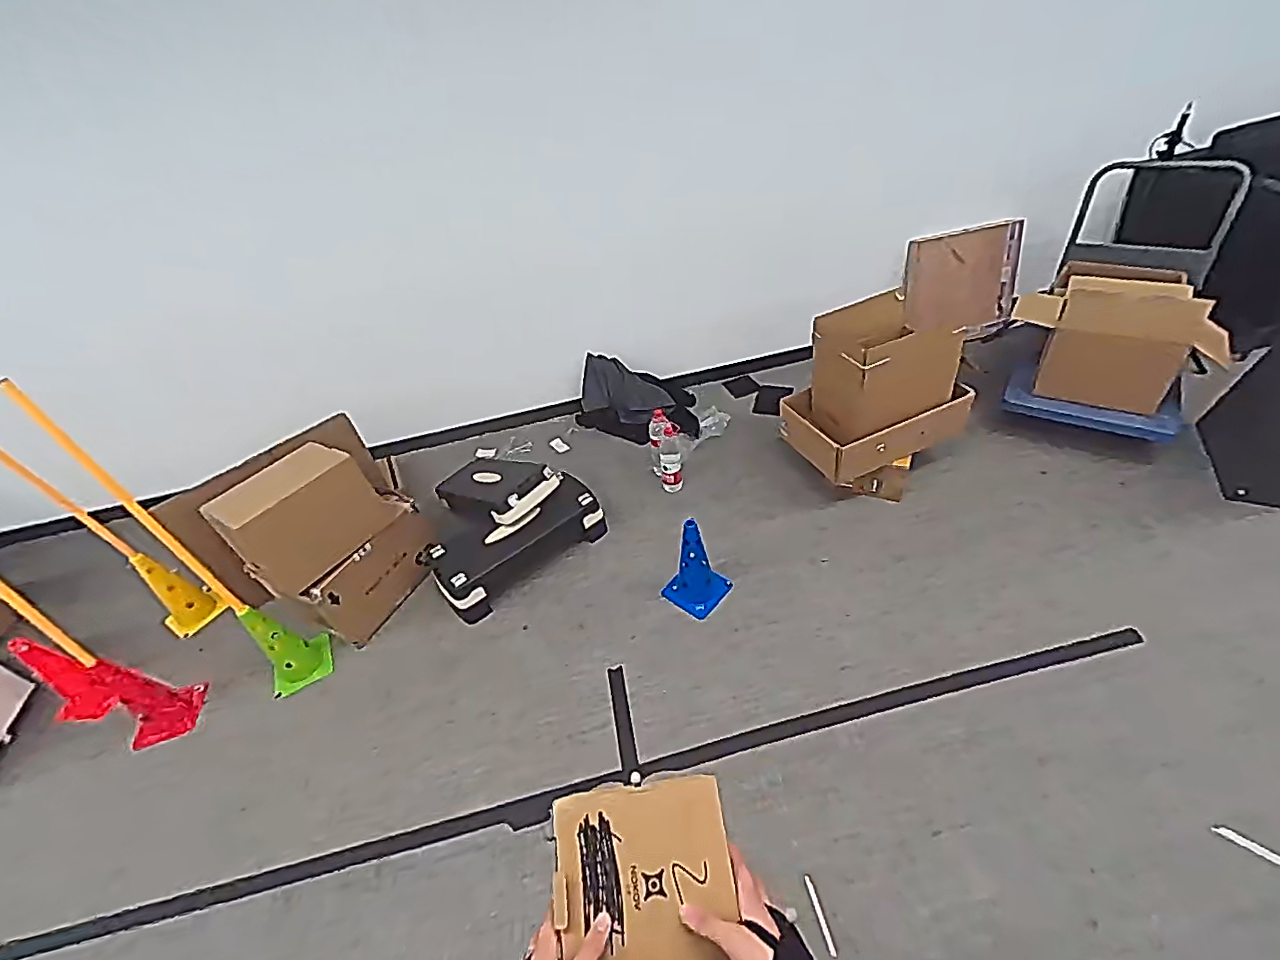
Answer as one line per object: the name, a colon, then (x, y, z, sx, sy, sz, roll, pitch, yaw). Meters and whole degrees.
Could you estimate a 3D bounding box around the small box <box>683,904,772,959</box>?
small box: (0.201, 1.046, 1.149, 0.168, 0.176, 0.179, -15, 41, -6)
